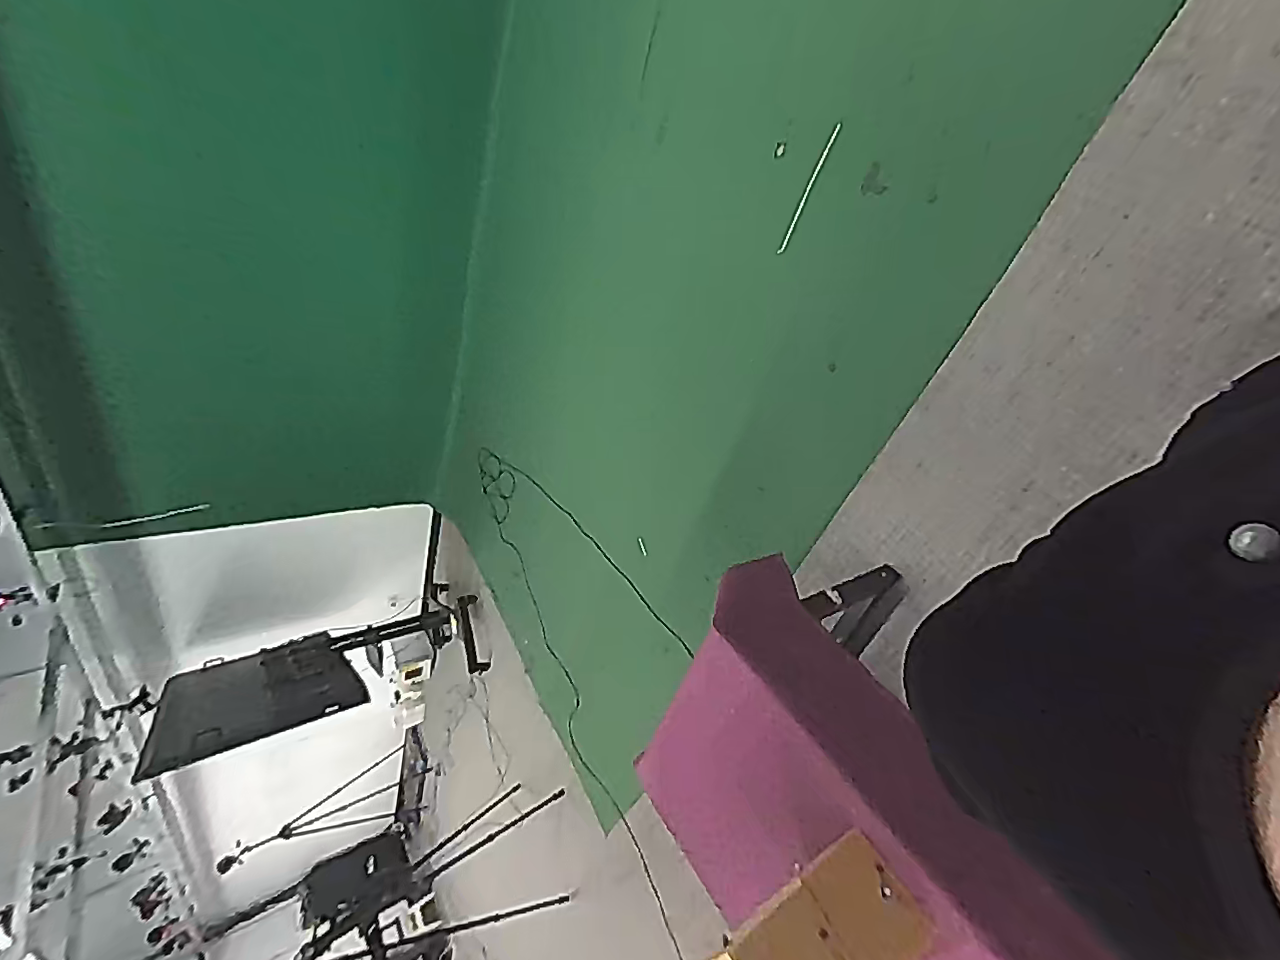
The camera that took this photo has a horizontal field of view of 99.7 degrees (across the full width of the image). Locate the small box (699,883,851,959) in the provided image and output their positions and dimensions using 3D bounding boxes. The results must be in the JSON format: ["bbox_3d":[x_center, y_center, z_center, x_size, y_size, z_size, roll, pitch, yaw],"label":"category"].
[{"bbox_3d":[0.201,0.735,0.785,0.168,0.176,0.179,52,135,34],"label":"small box"}]
